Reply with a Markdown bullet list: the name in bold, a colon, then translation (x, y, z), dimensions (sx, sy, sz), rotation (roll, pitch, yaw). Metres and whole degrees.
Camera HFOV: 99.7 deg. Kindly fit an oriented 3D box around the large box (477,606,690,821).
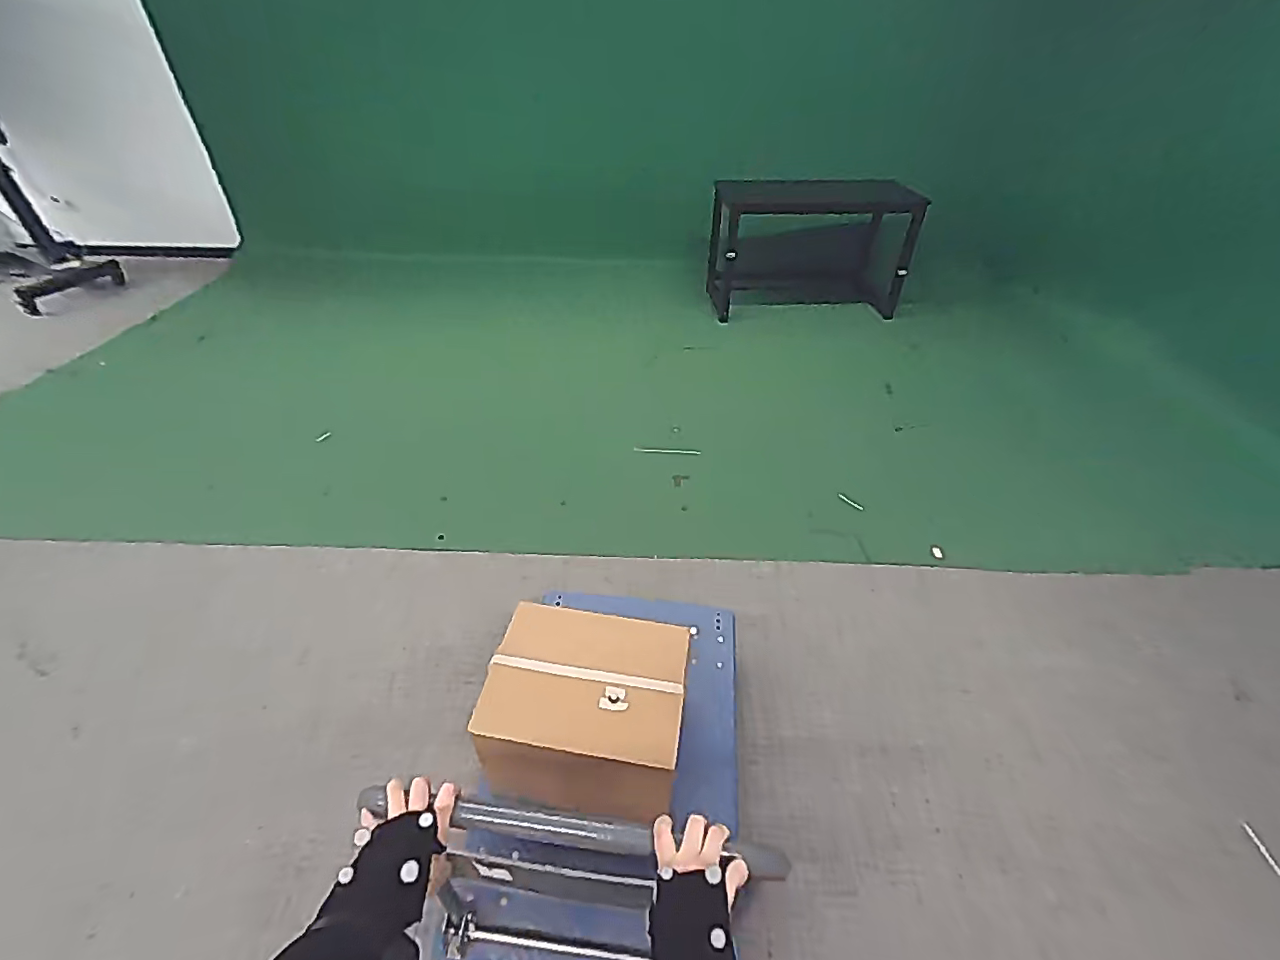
- **large box**: translation (-0.111, 0.529, 1.240), dimensions (0.408, 0.320, 0.320), rotation (7, 40, 6)
